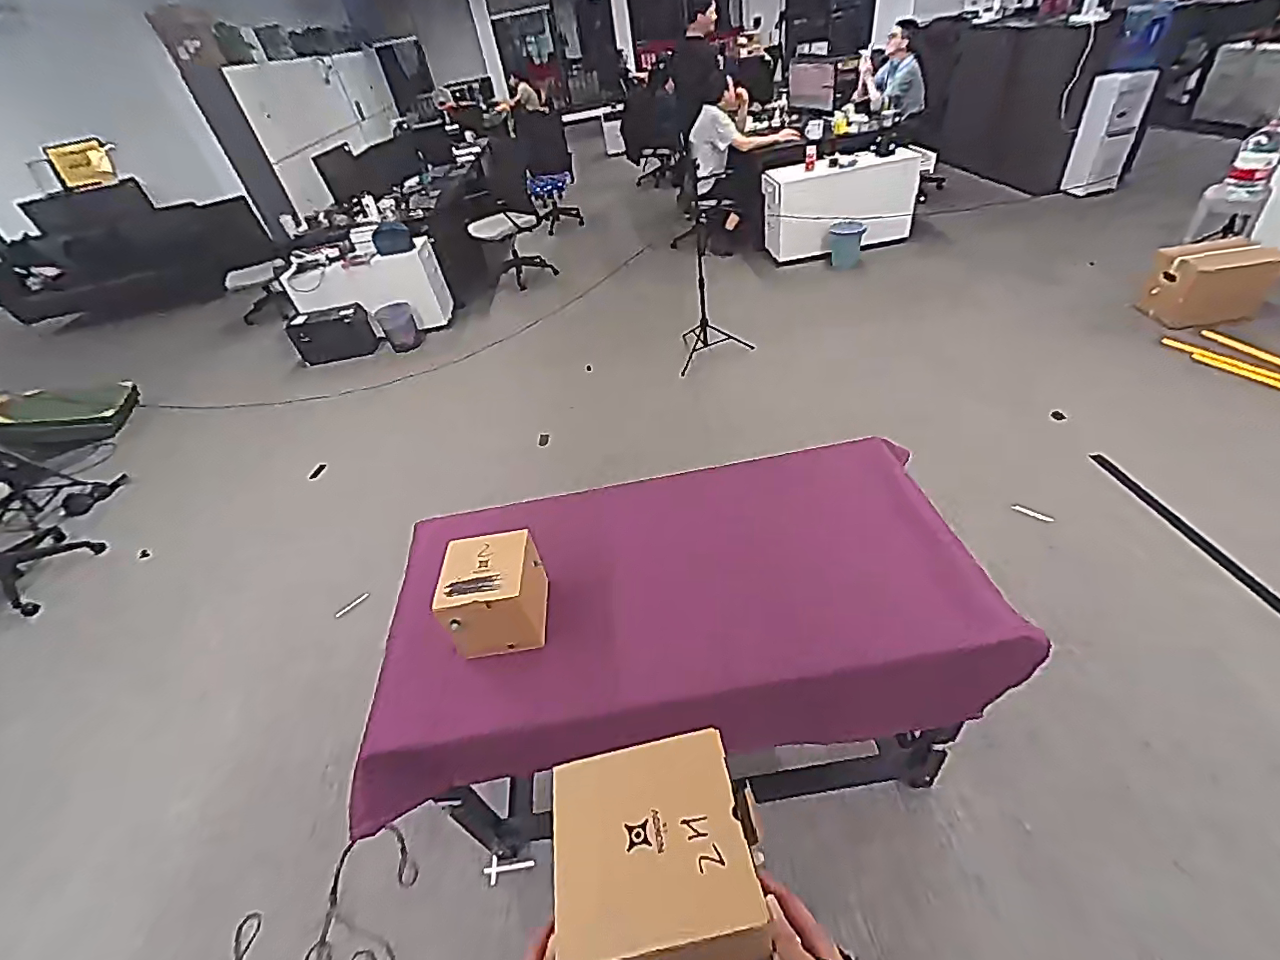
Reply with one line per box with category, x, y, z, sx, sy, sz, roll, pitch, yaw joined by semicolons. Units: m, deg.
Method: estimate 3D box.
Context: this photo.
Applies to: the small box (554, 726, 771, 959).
small box;0.021;0.382;0.537;0.179;0.176;0.168;-12;36;-1
